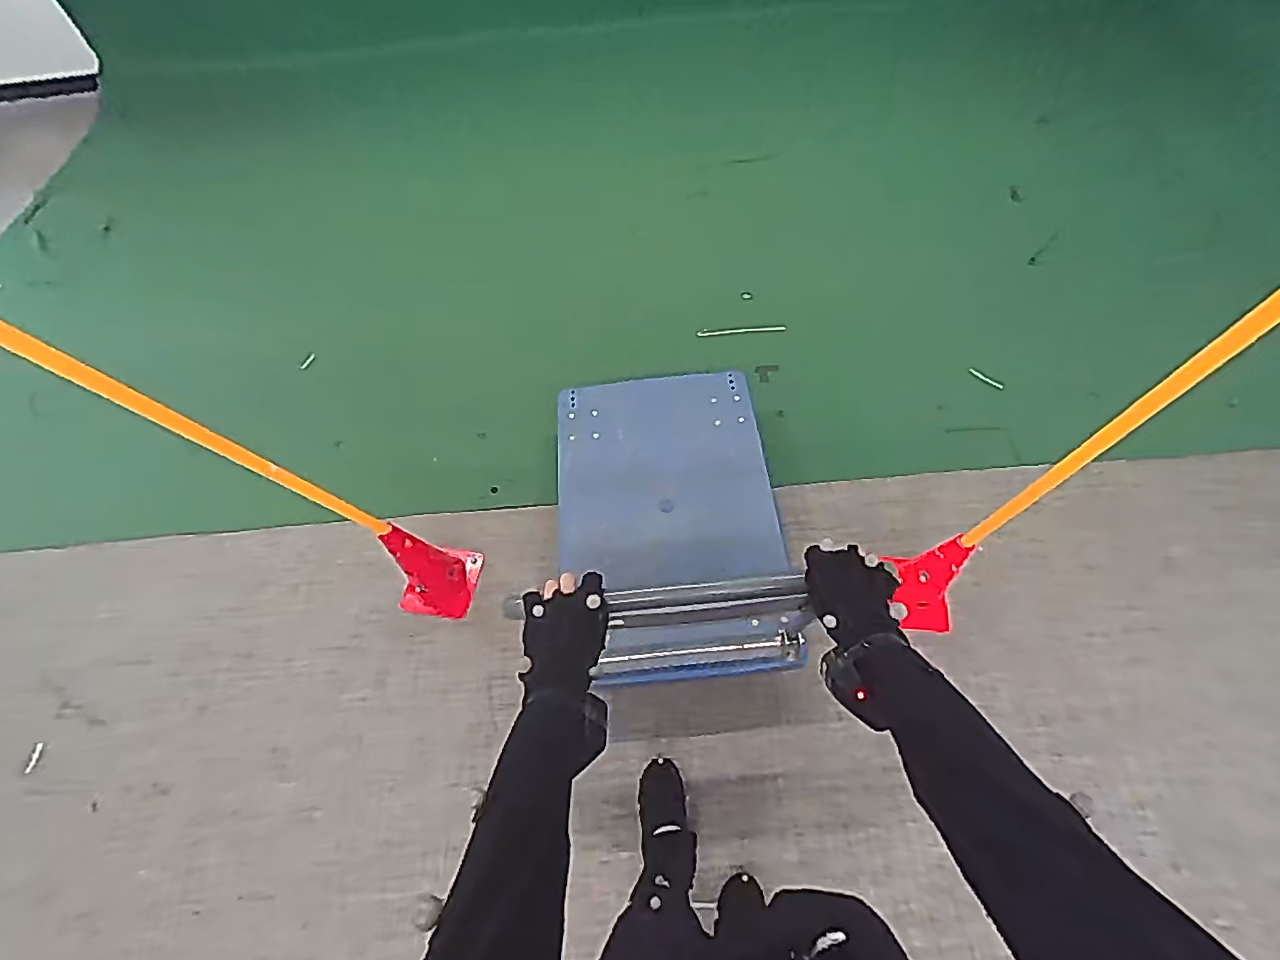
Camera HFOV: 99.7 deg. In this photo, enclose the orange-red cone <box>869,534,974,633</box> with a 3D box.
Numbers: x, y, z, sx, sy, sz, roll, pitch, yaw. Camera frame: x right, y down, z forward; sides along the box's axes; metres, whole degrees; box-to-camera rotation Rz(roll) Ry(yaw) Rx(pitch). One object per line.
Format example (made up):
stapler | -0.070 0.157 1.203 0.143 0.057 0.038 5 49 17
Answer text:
orange-red cone | 0.709 0.220 1.305 0.198 0.360 0.199 5 61 8
